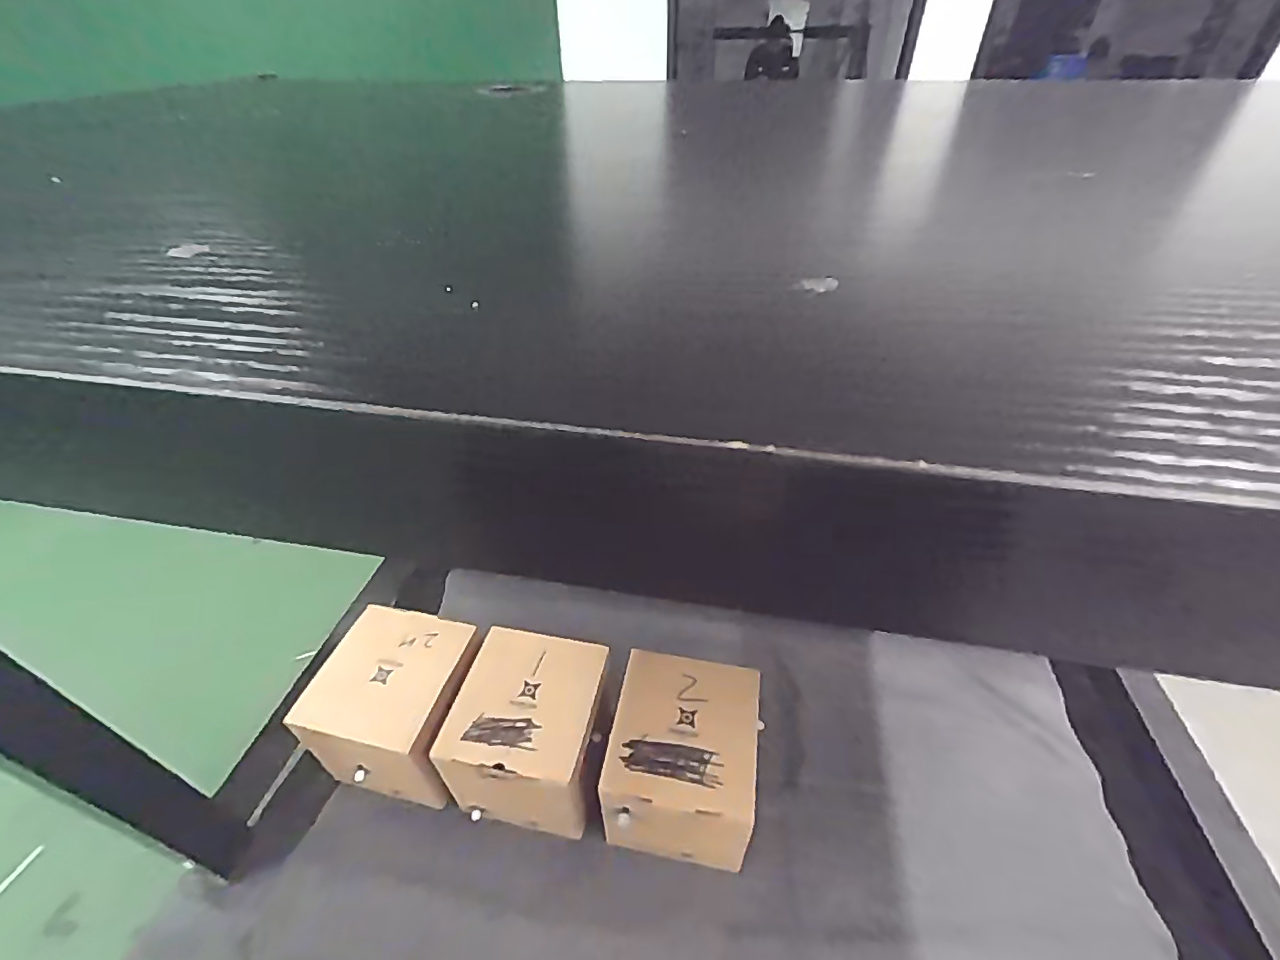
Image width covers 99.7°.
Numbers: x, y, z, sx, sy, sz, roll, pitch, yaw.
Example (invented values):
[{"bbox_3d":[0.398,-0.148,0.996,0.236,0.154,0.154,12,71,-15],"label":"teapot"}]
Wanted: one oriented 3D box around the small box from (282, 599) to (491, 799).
[{"bbox_3d":[-0.317,0.293,0.723,0.168,0.176,0.179,10,41,10],"label":"small box"}]
